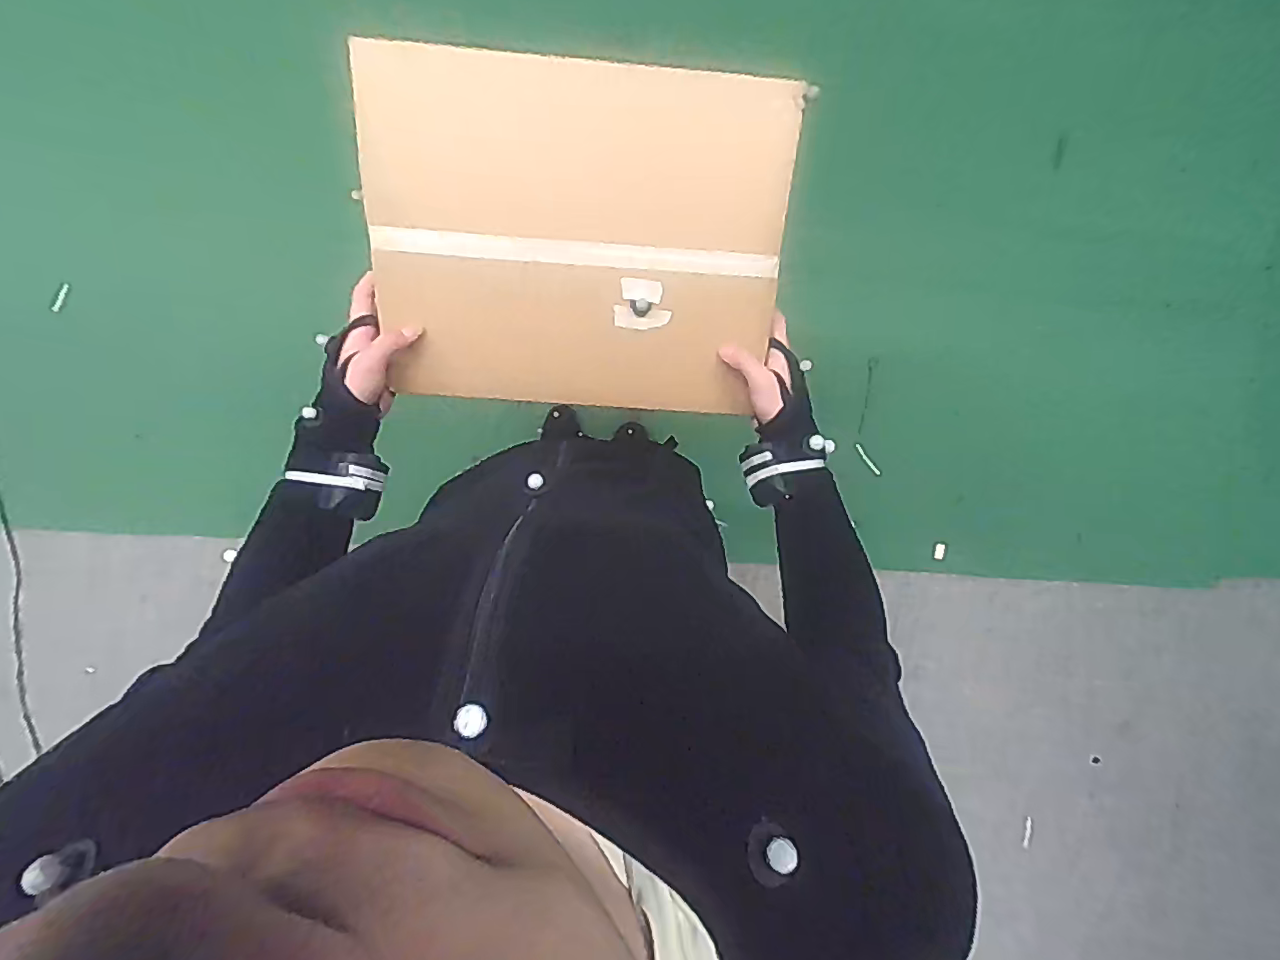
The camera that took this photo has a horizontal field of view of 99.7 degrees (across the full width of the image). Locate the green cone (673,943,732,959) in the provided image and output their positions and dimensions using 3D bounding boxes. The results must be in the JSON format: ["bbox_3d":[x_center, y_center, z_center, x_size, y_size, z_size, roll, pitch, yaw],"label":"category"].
[{"bbox_3d":[0.214,1.722,1.702,0.200,0.368,0.202,9,96,-3],"label":"green cone"}]

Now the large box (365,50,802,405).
[{"bbox_3d":[-0.063,-0.289,0.682,0.408,0.320,0.320,2,114,-4],"label":"large box"}]
